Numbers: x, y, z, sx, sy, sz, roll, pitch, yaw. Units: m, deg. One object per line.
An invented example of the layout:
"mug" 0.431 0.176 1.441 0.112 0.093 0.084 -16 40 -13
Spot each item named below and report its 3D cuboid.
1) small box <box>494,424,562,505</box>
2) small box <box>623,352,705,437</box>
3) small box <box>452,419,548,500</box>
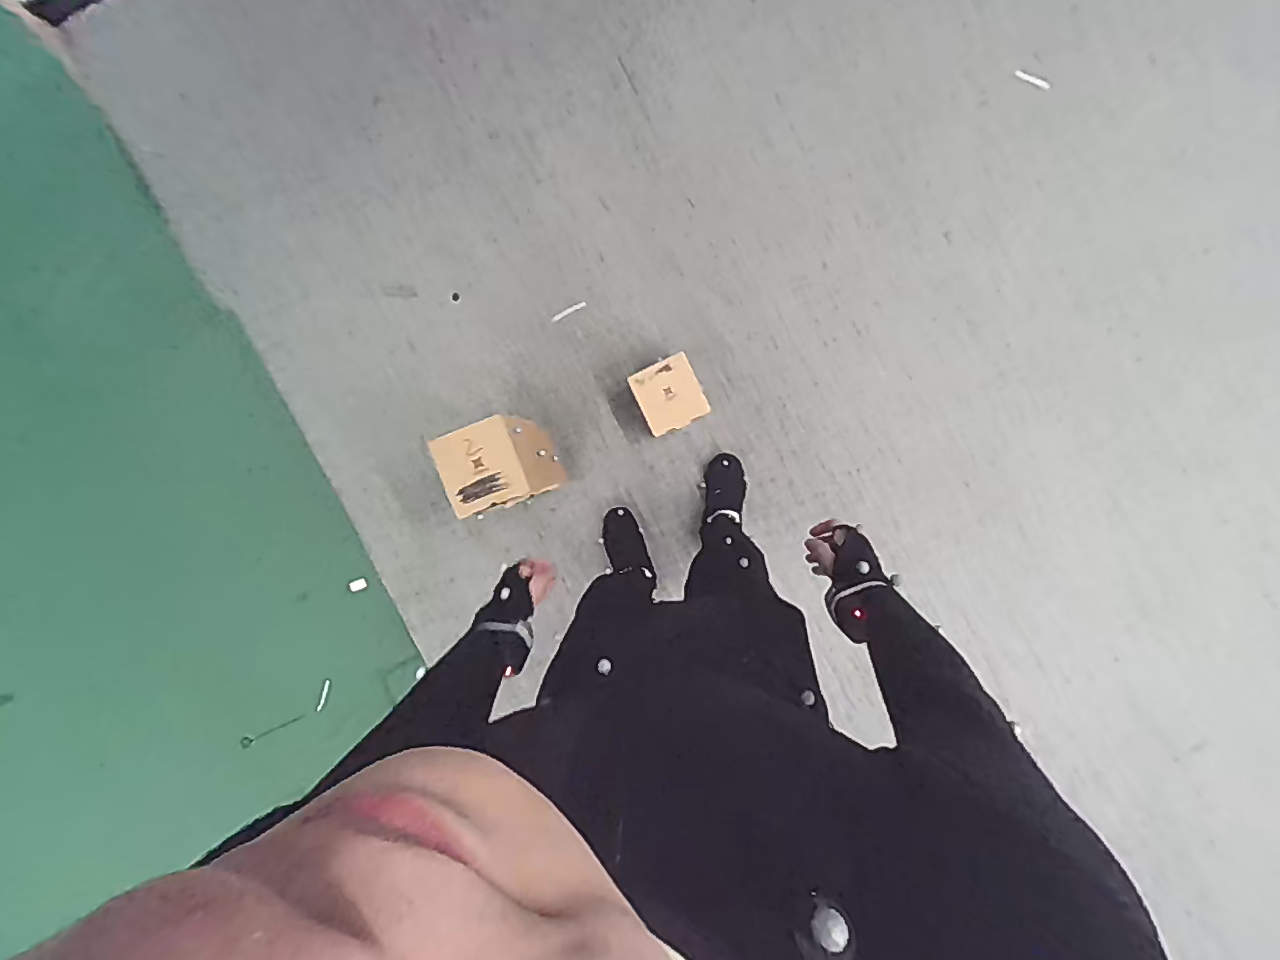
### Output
"small box" -0.329 -0.047 1.504 0.168 0.176 0.179 -21 92 2
"small box" 0.066 -0.230 1.480 0.168 0.176 0.179 -24 94 3
"small box" -0.344 -0.053 1.349 0.179 0.176 0.168 10 96 1
